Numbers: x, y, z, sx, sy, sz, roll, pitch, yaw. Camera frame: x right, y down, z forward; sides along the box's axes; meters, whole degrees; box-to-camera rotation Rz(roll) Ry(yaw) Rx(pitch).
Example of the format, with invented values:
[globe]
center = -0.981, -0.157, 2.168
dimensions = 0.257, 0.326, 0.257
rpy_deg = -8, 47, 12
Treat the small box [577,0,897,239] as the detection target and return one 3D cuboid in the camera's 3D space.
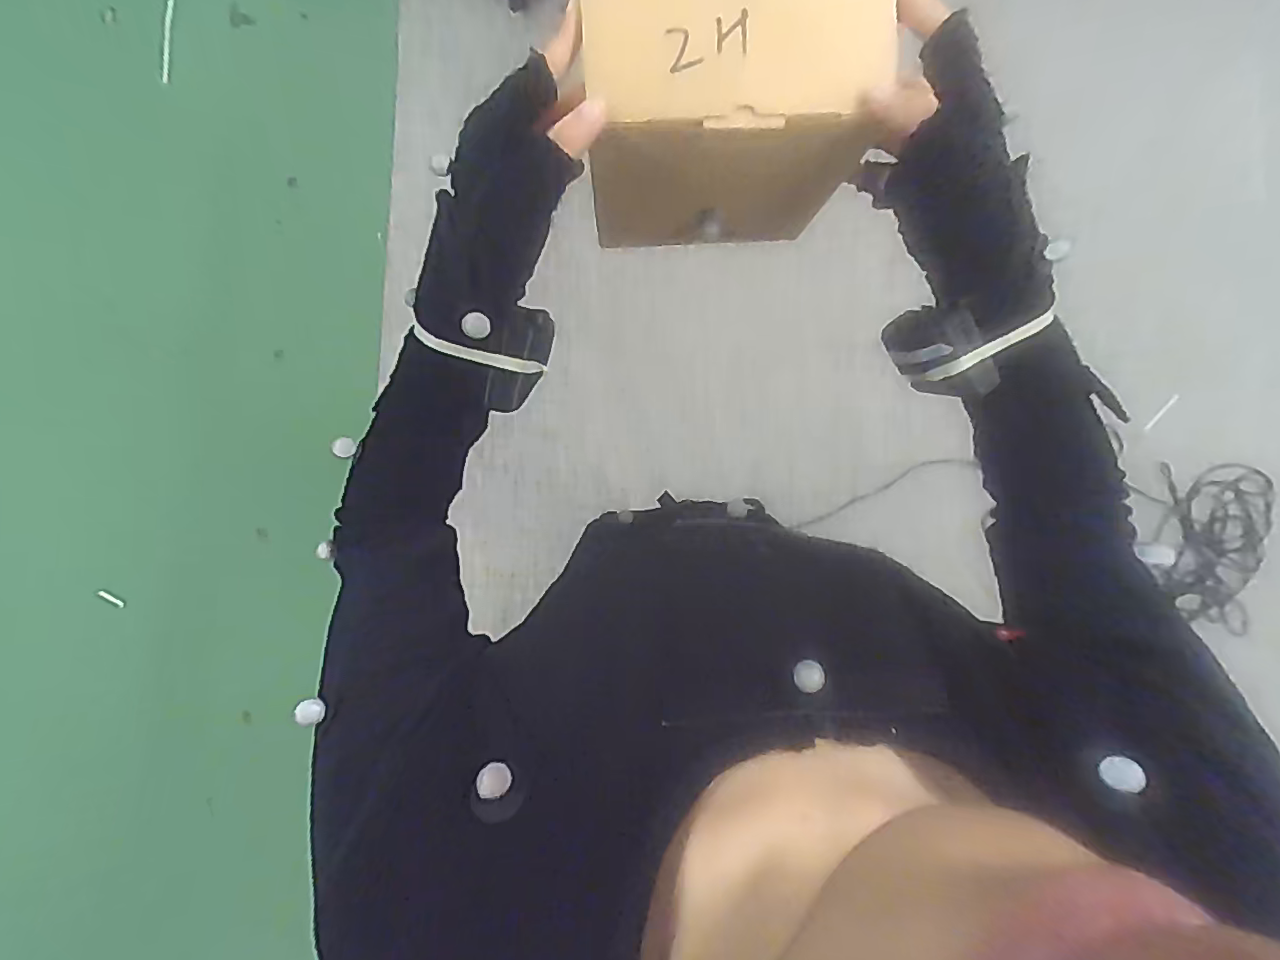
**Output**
[small box]
center = 0.045, -0.282, 0.355
dimensions = 0.168, 0.176, 0.179
rpy_deg = -3, 91, -1
